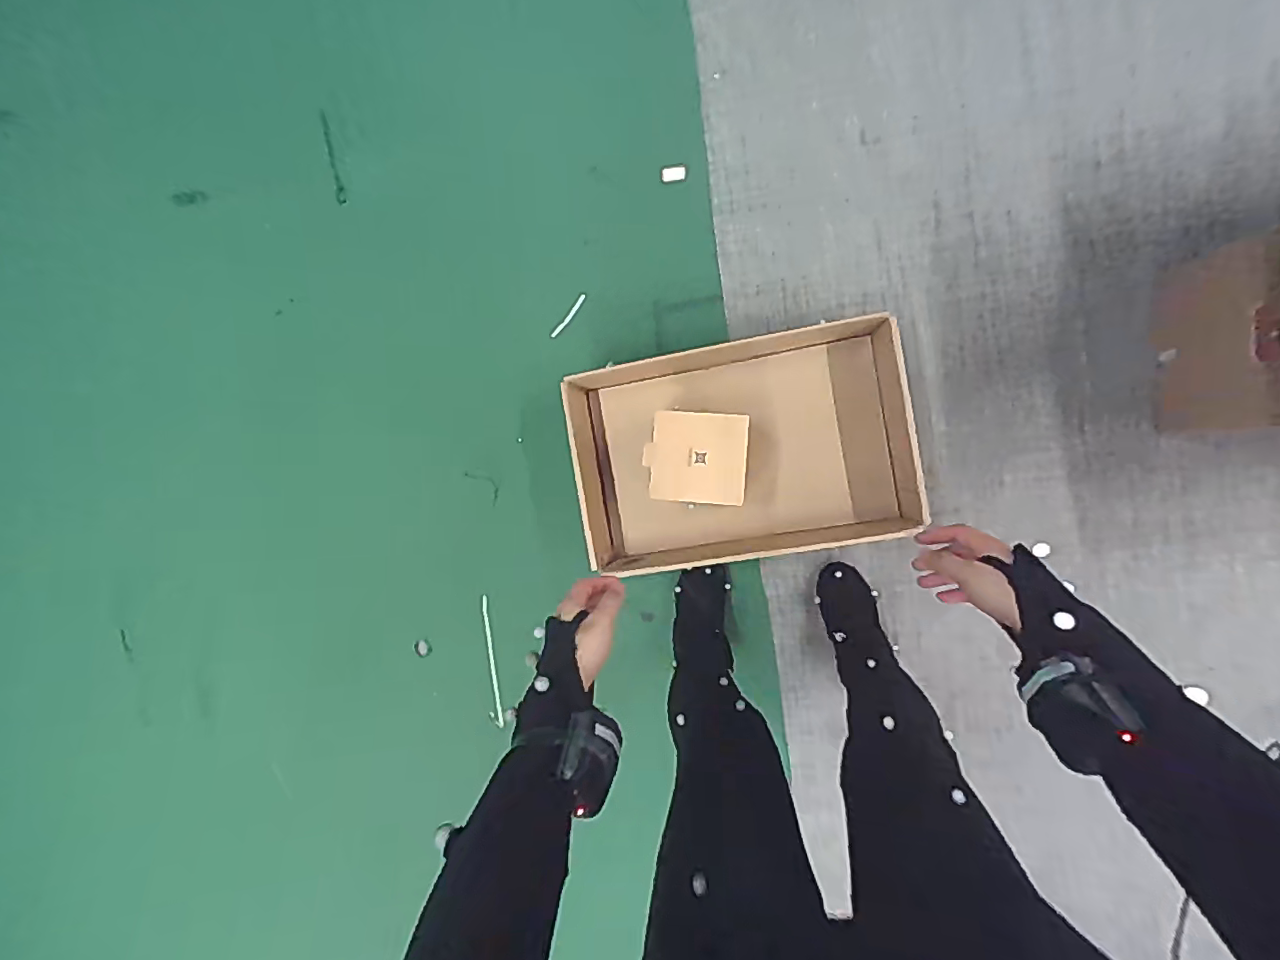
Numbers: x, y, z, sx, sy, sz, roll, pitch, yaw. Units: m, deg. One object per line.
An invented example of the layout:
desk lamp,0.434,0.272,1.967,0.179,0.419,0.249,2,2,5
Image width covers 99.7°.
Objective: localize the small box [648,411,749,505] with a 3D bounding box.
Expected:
small box,0.116,-0.044,1.065,0.179,0.176,0.168,3,92,8
